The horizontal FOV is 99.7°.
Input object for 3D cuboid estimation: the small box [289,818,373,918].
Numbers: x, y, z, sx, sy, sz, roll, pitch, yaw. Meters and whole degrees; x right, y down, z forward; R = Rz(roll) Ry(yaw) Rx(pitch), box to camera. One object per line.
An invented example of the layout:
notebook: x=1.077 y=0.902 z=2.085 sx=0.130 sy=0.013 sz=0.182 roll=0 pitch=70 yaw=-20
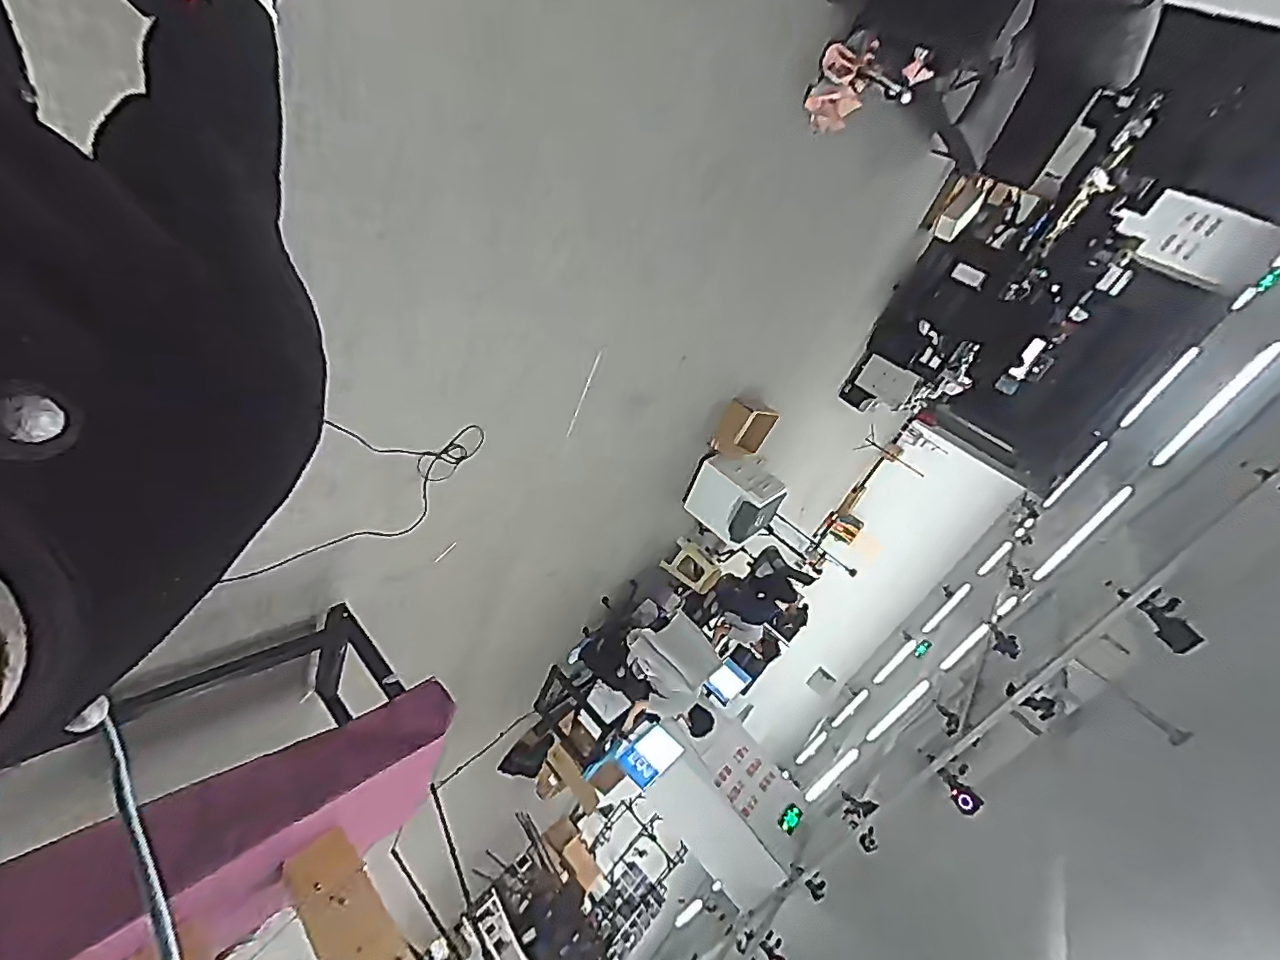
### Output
small box: x=-0.996 y=1.242 z=1.743 sx=0.179 sy=0.176 sz=0.168 roll=-16 pitch=140 yaw=-49

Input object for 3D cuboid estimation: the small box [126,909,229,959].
small box: x=-1.230 y=1.304 z=1.436 sx=0.179 sy=0.176 sz=0.168 roll=-14 pitch=137 yaw=-51

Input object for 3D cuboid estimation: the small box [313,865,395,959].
small box: x=-0.888 y=1.345 z=1.672 sx=0.168 sy=0.176 sz=0.179 roll=-17 pitch=140 yaw=-50
